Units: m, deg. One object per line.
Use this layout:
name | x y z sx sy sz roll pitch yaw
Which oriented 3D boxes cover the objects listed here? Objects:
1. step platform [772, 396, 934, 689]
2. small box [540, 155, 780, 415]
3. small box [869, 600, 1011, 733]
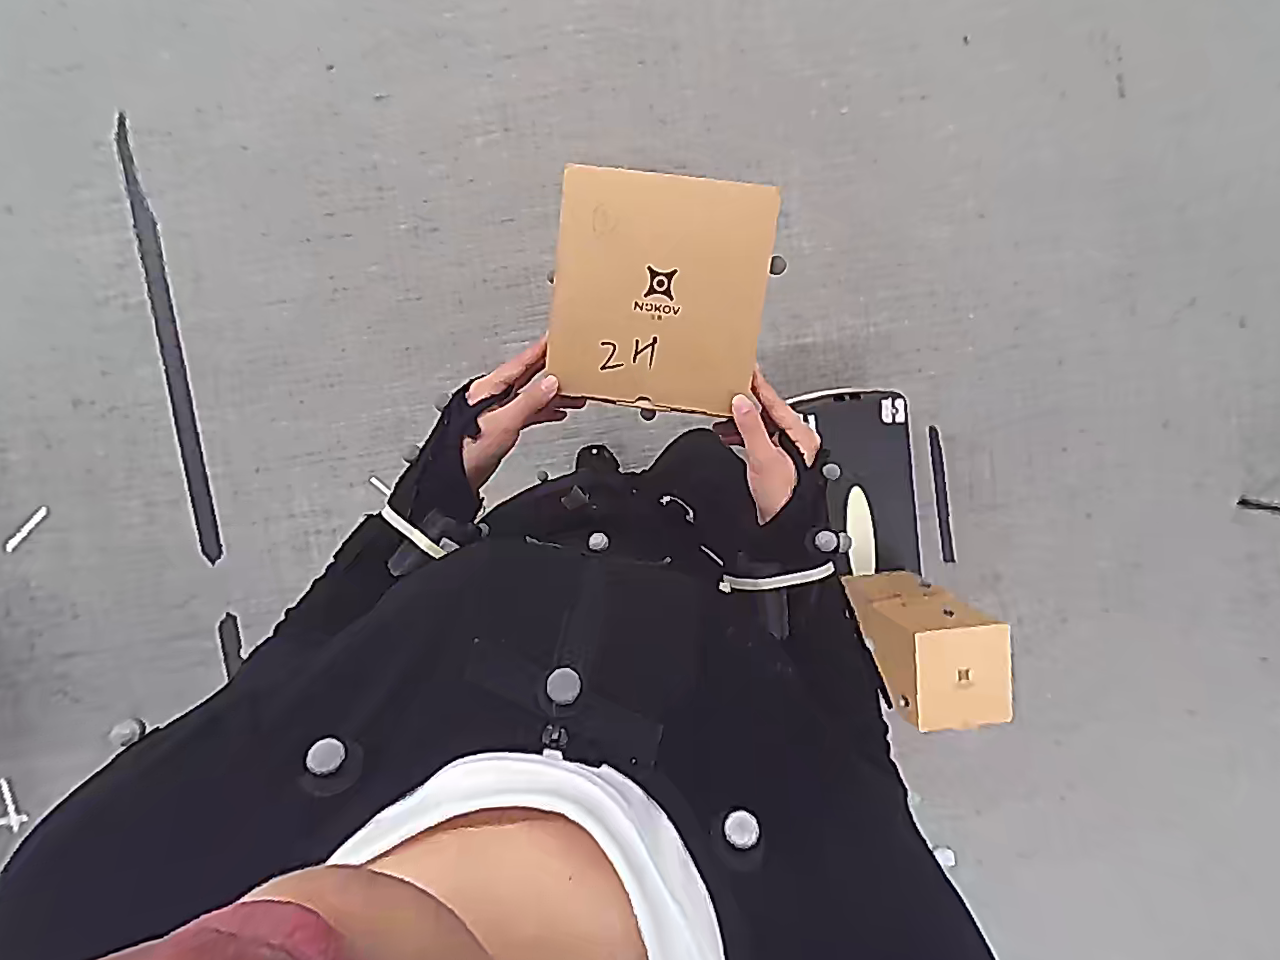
step platform | 0.514 0.145 1.299 0.286 0.204 0.684 -8 94 -3
small box | 0.017 -0.158 0.490 0.168 0.176 0.179 8 99 3
small box | 0.531 0.324 0.976 0.168 0.176 0.179 -5 95 -3
